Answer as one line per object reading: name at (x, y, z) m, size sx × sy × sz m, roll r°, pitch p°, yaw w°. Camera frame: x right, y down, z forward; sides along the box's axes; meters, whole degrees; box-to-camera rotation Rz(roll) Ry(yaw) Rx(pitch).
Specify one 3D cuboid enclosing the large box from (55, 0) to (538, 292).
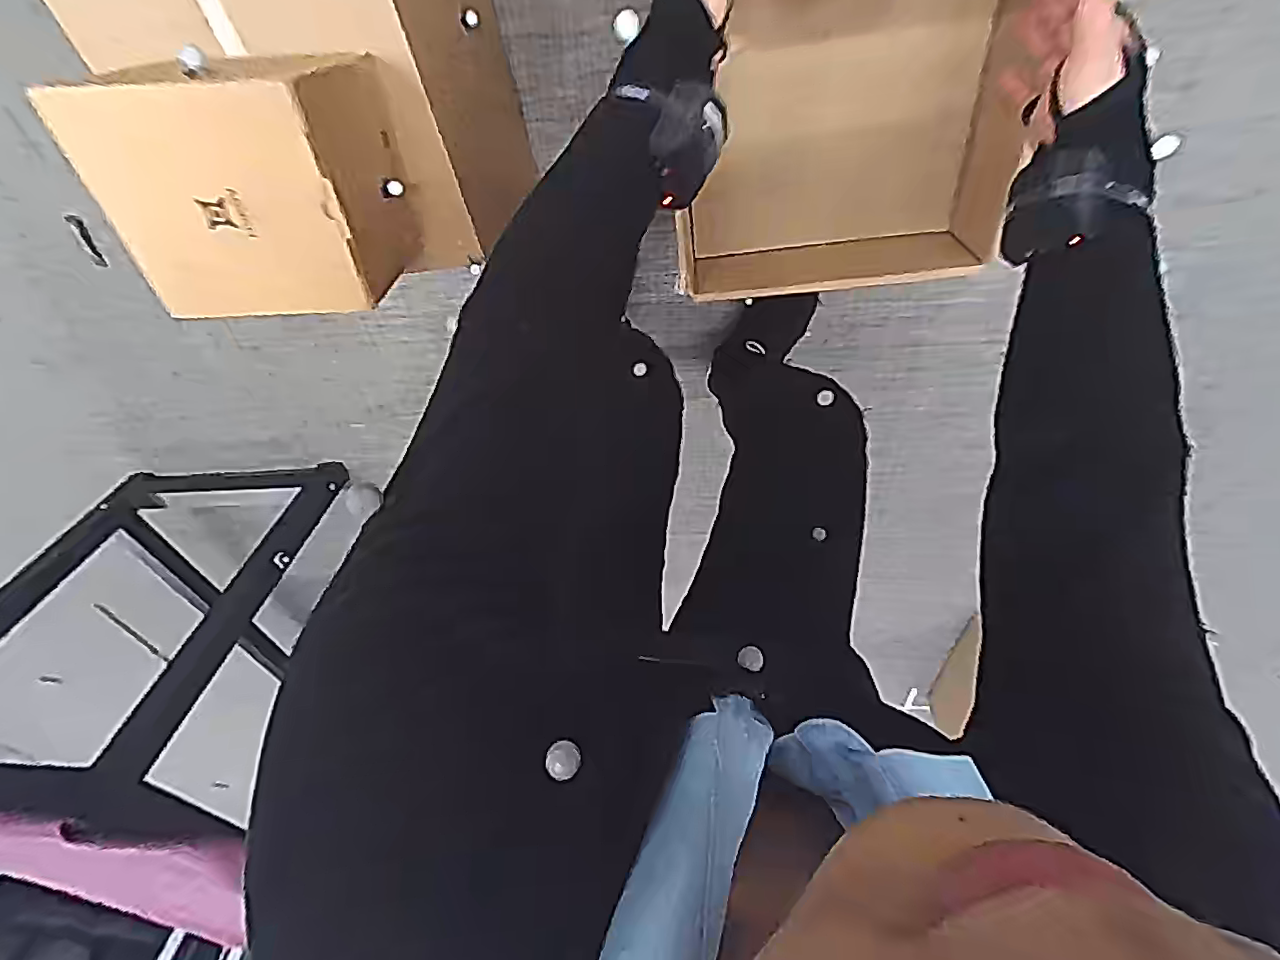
large box at (-0.338, -0.483, 0.598) m, size 0.320 × 0.320 × 0.408 m, roll -4°, pitch 133°, yaw 9°
